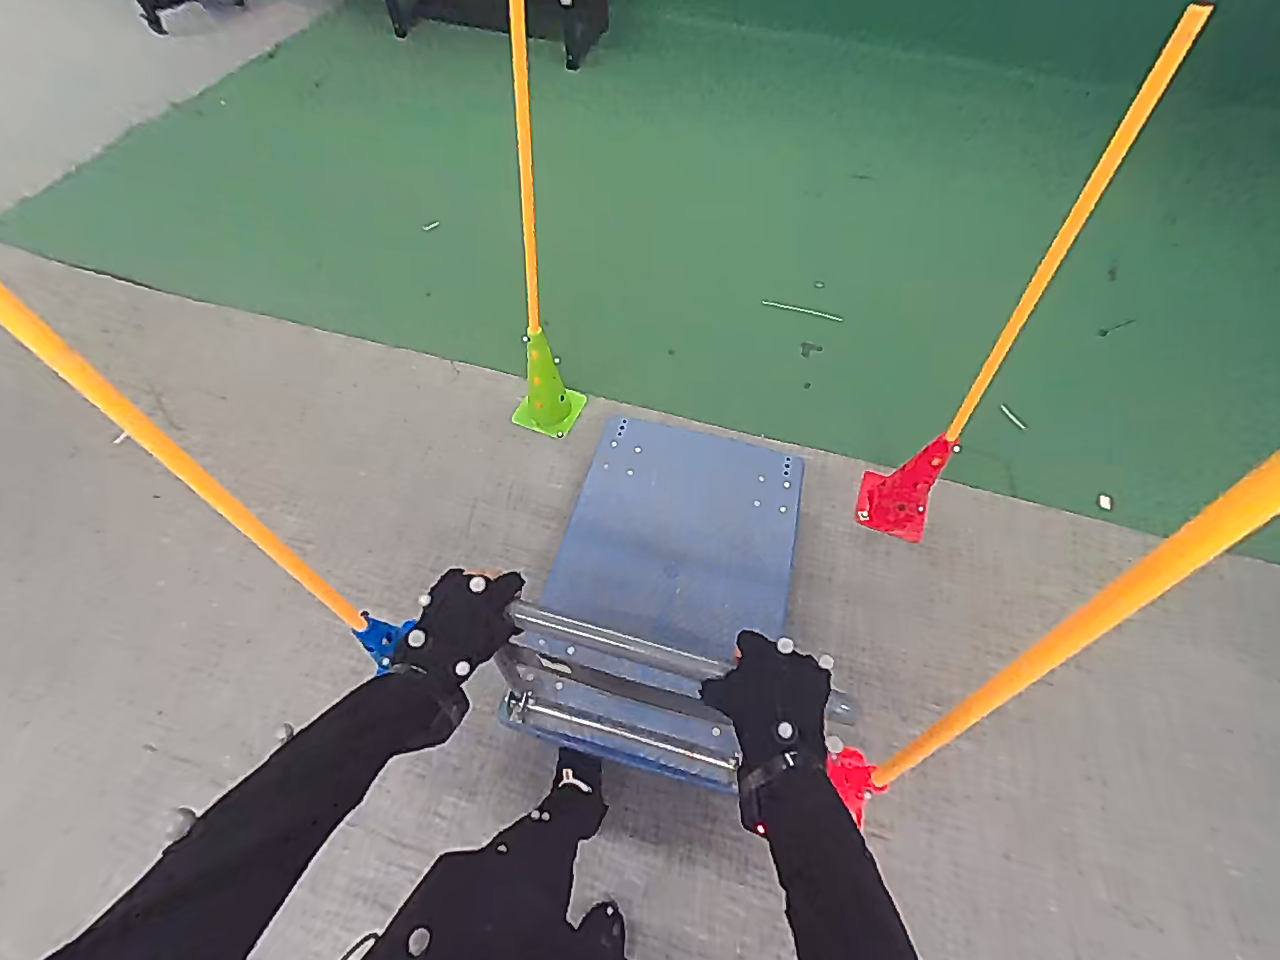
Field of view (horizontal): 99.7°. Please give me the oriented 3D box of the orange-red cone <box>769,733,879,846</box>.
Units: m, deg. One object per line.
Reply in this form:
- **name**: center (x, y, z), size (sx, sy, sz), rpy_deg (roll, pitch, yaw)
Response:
- **orange-red cone**: center (0.410, 0.626, 1.119), size (0.199, 0.360, 0.198), rpy_deg (14, 58, 9)

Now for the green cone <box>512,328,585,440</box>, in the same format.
- **green cone**: center (-0.306, -0.325, 1.686), size (0.202, 0.368, 0.200), rpy_deg (19, 59, 11)
